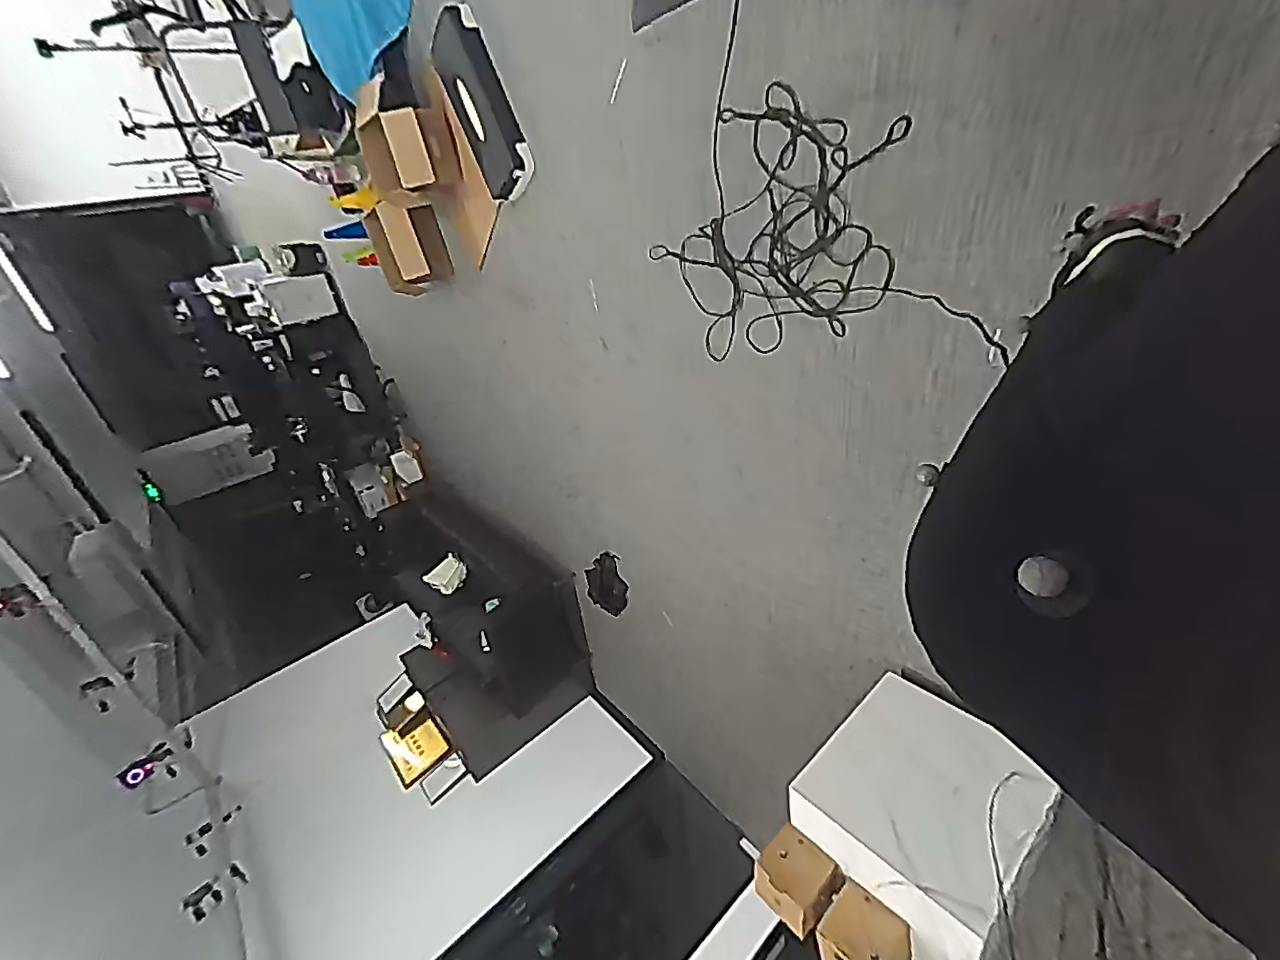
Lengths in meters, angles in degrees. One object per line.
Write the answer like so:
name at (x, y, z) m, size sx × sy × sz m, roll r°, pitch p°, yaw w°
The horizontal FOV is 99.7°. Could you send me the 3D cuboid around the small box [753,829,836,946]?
small box at (0.443, 1.158, 1.550) m, size 0.168 × 0.176 × 0.179 m, roll 25°, pitch 133°, yaw 46°
